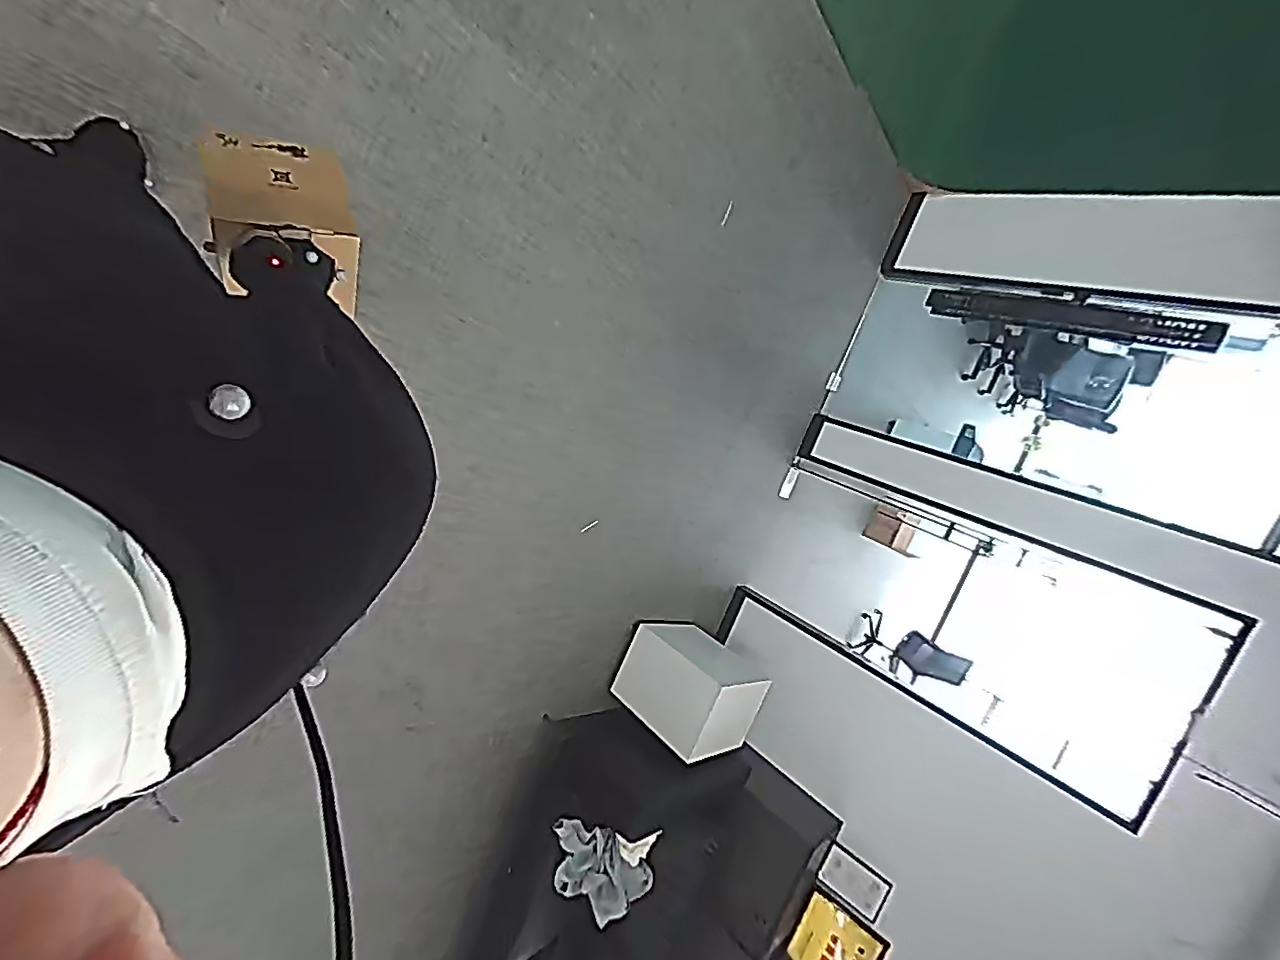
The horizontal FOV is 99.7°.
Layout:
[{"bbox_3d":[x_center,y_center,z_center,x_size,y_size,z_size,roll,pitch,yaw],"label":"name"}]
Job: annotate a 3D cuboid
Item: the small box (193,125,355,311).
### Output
[{"bbox_3d":[-0.524,-0.367,0.791,0.168,0.179,0.176,-11,160,-33],"label":"small box"}]
